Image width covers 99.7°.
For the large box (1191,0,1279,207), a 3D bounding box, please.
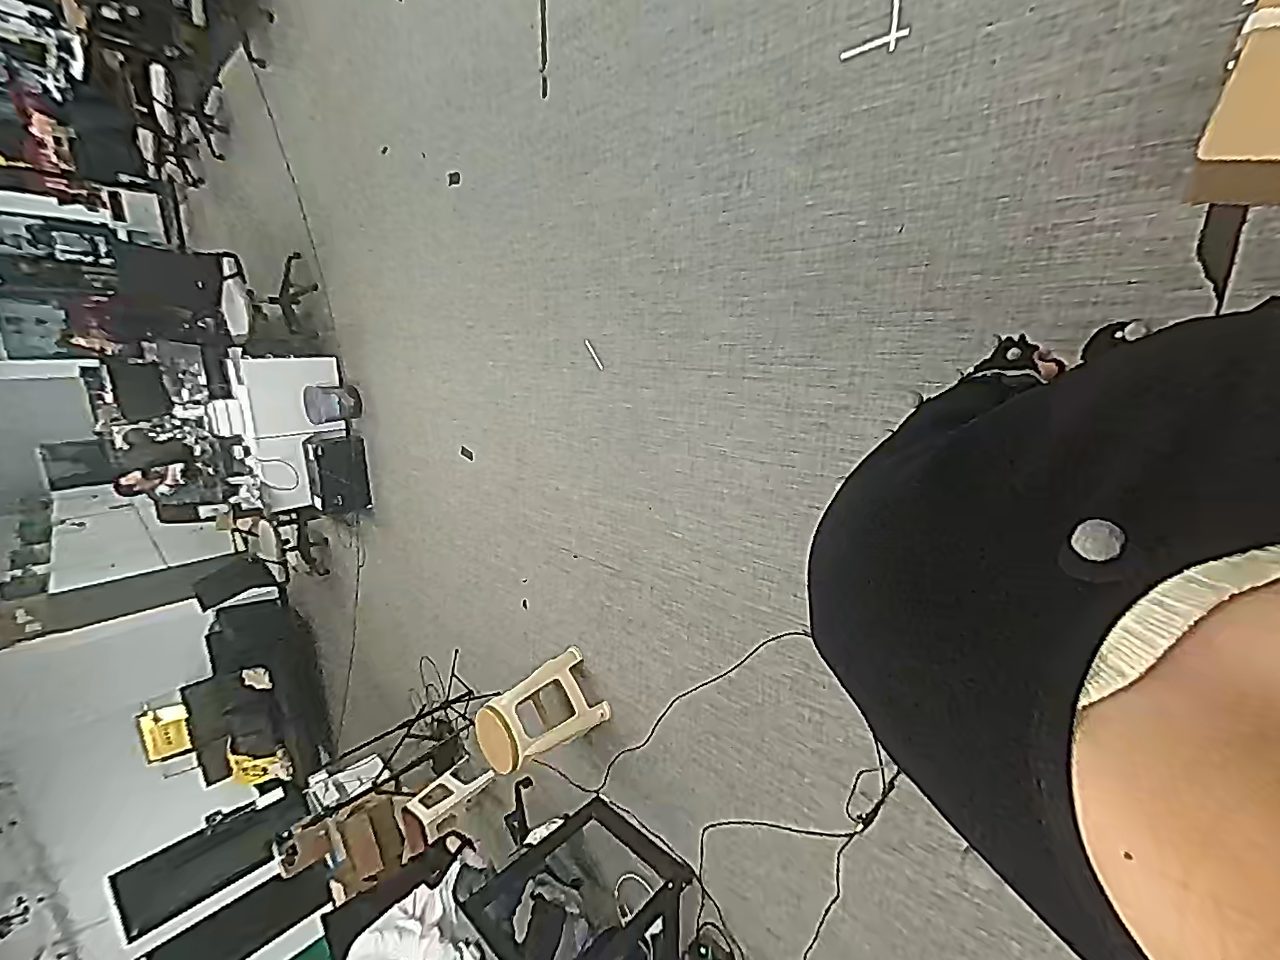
[{"bbox_3d":[1.017,-0.531,0.662,0.408,0.320,0.320,25,117,37],"label":"large box"}]
